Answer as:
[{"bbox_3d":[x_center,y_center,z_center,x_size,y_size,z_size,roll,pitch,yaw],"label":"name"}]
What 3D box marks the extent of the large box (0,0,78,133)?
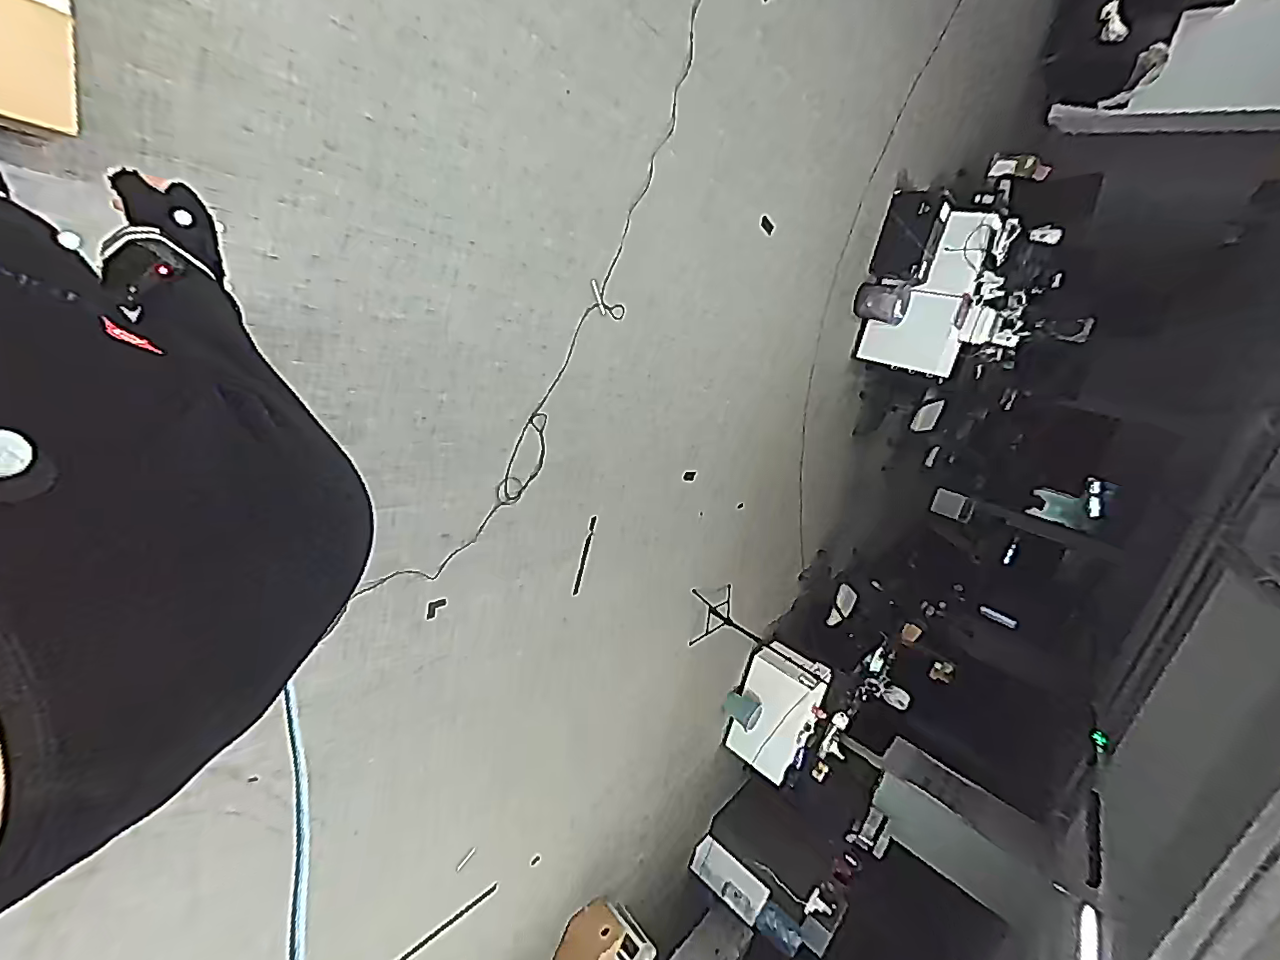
[{"bbox_3d":[-1.004,-0.669,0.655,0.408,0.320,0.320,-8,117,-51],"label":"large box"}]
